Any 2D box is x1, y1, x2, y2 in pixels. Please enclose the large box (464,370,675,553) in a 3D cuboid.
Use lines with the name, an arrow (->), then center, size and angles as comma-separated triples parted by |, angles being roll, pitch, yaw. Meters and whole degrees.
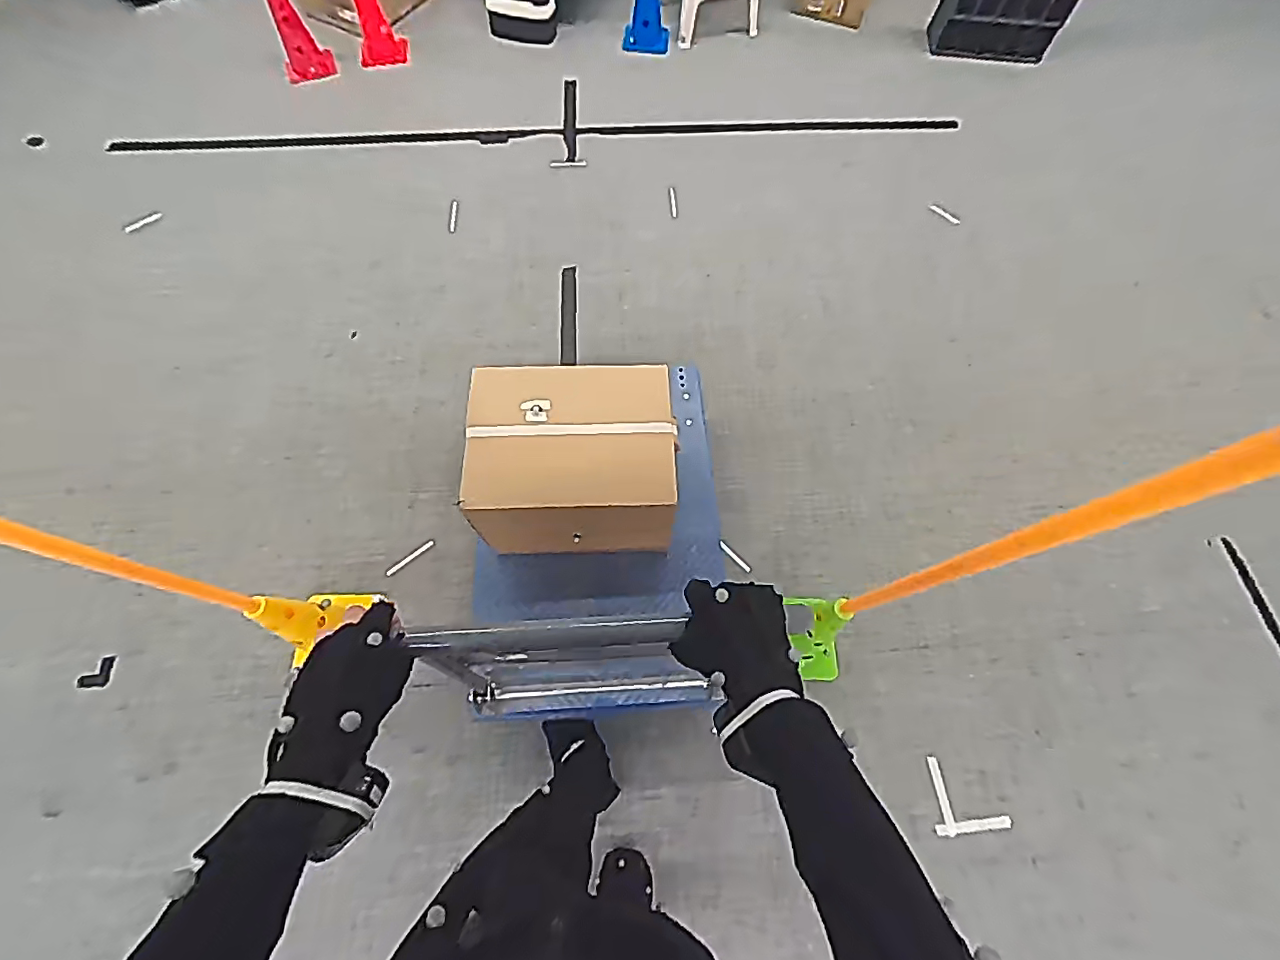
large box -> -0.138, -0.026, 1.208 | 0.408, 0.320, 0.320 | -1, 66, -1

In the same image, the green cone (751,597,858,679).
green cone -> 0.394, 0.330, 1.218 | 0.202, 0.368, 0.200 | 2, 66, -2
